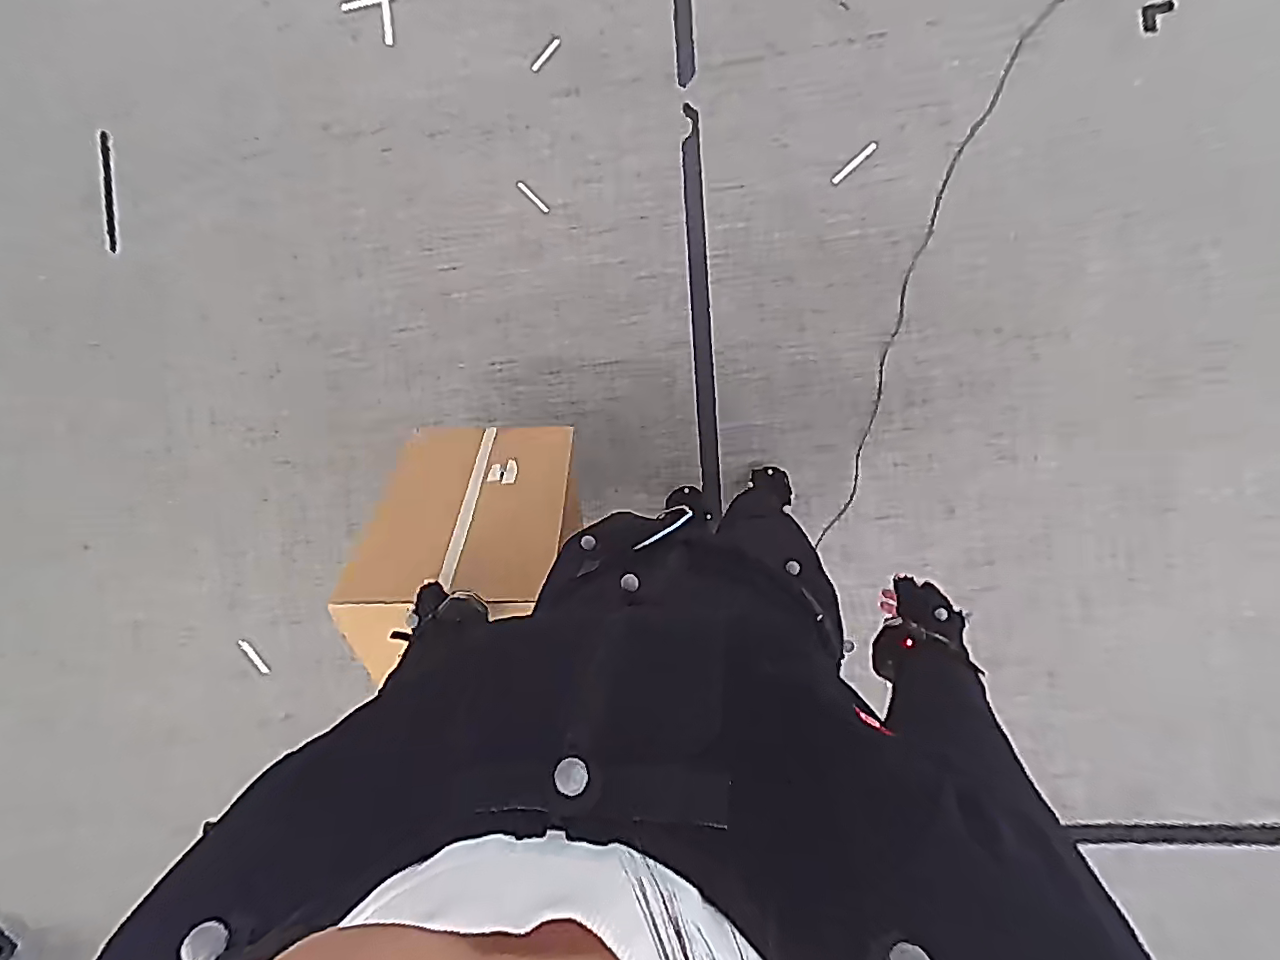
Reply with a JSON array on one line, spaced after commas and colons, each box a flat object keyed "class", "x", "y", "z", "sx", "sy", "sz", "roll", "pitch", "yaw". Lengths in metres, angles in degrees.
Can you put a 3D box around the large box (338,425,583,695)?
[{"class": "large box", "x": -0.282, "y": 0.141, "z": 1.009, "sx": 0.320, "sy": 0.408, "sz": 0.320, "roll": 1, "pitch": 132, "yaw": -1}]
